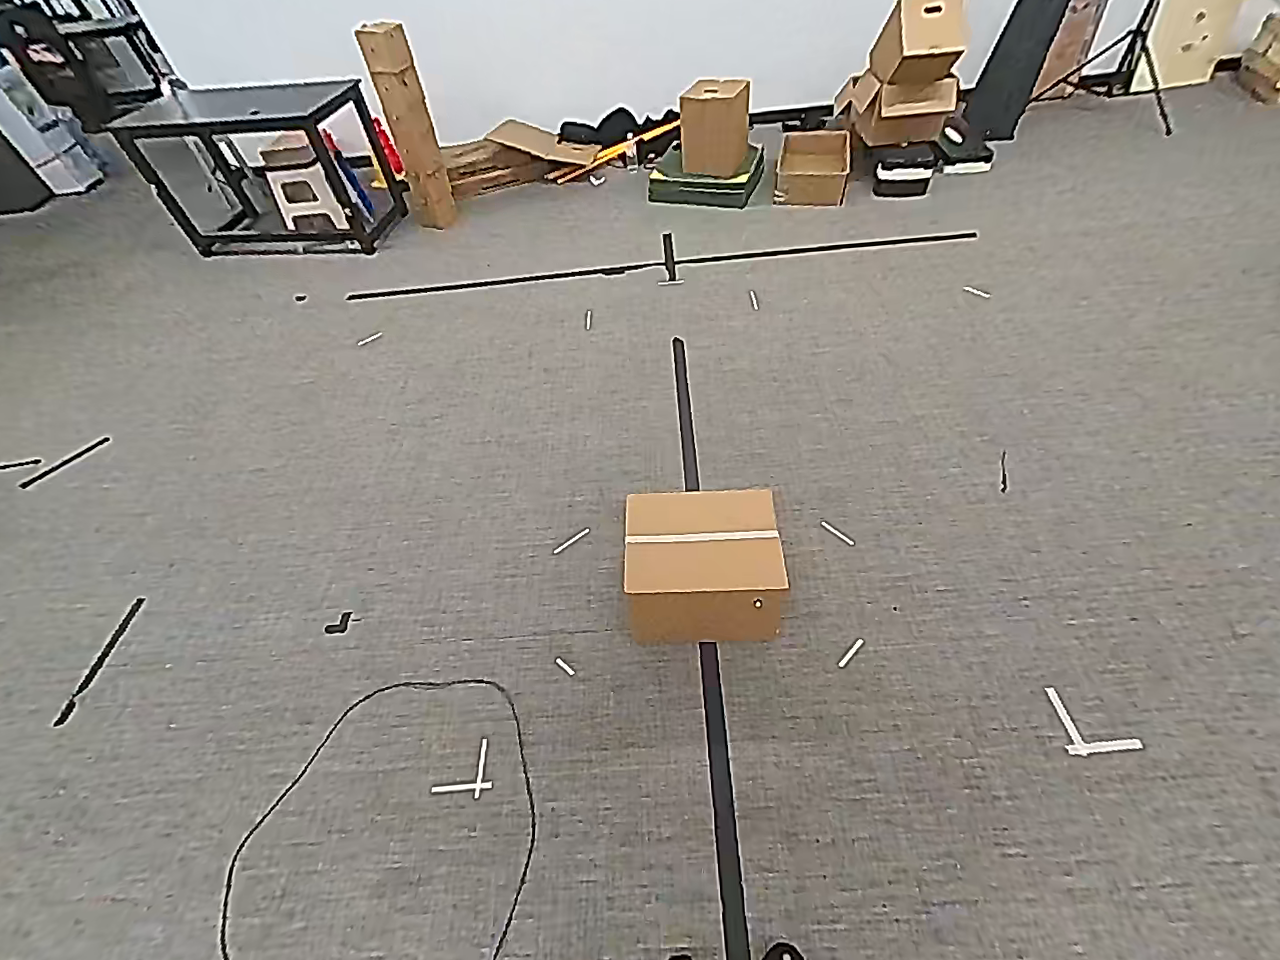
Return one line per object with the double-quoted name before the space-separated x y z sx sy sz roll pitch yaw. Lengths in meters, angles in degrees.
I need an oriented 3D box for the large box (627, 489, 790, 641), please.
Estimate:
"large box" 0.177 0.248 1.526 0.408 0.320 0.320 -3 50 3
